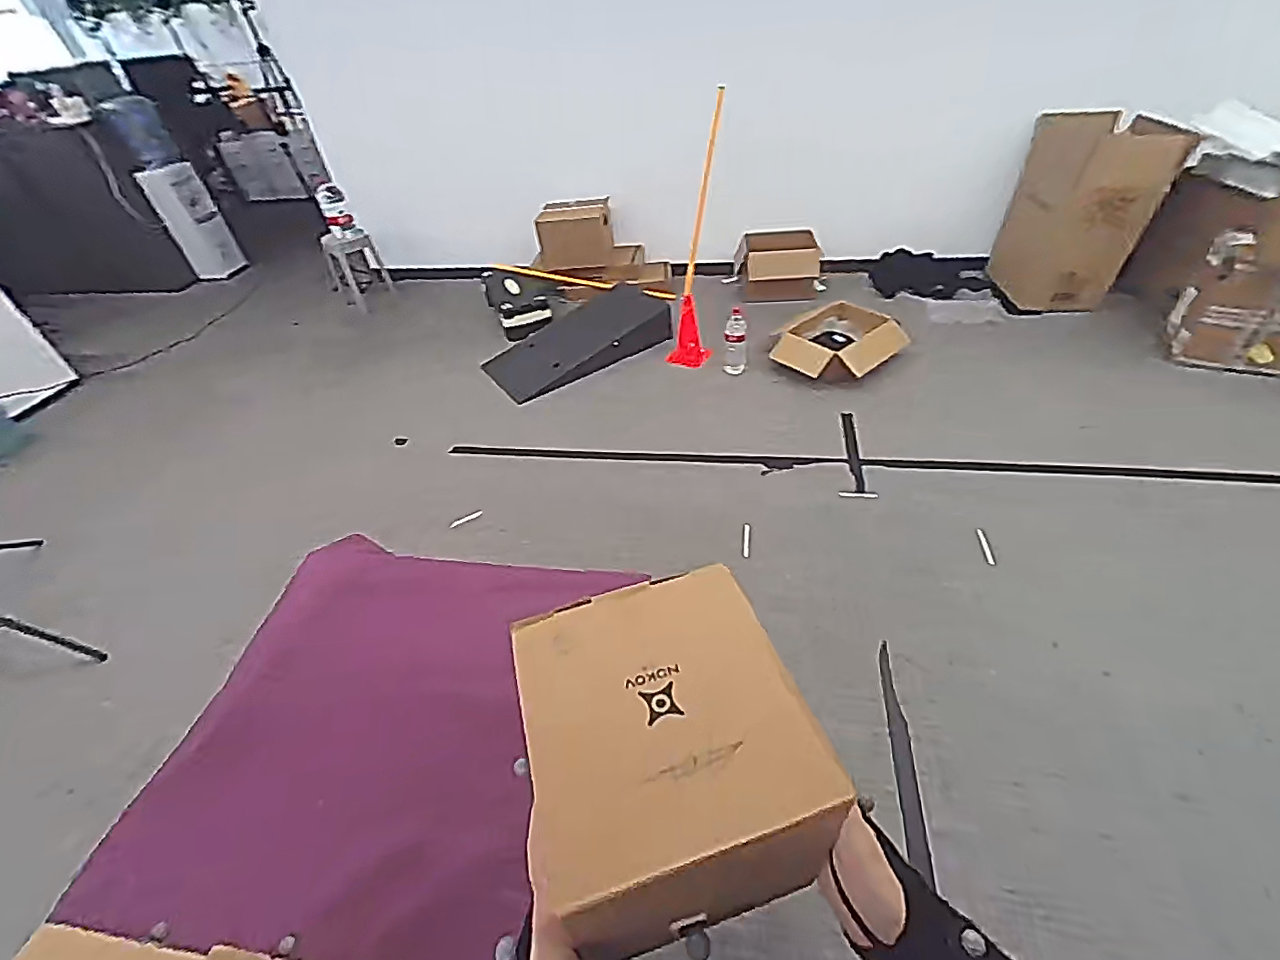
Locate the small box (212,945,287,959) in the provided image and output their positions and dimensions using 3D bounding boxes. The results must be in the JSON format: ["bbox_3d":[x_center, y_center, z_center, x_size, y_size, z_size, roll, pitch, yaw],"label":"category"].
[{"bbox_3d":[-0.309,0.545,0.474,0.179,0.176,0.168,4,44,12],"label":"small box"}]

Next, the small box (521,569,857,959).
[{"bbox_3d":[0.019,0.198,0.385,0.168,0.176,0.179,-14,41,-10],"label":"small box"}]
